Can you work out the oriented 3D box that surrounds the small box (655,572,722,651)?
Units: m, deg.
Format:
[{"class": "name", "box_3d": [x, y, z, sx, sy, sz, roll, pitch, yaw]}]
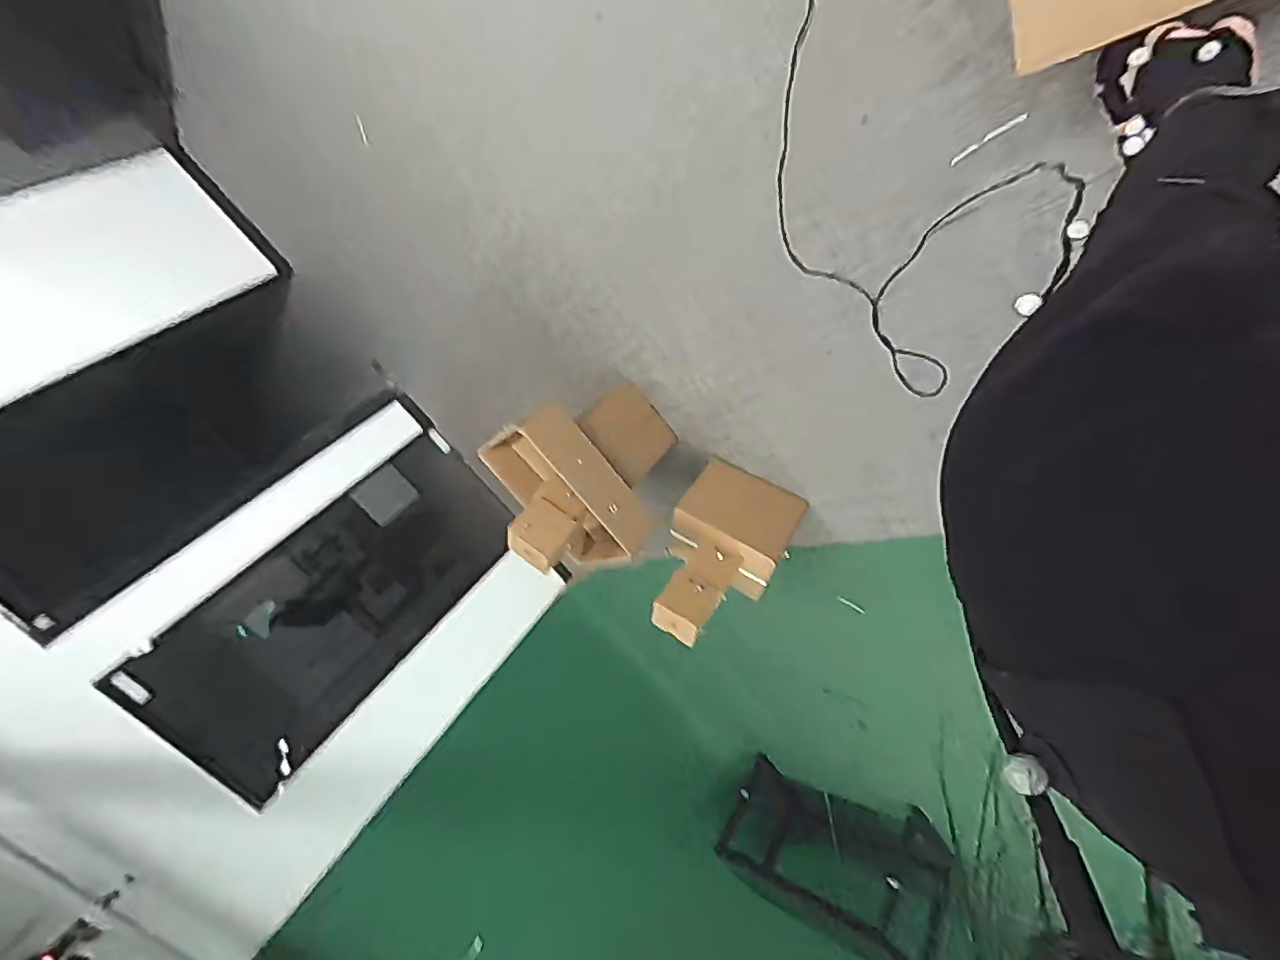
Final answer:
[{"class": "small box", "box_3d": [0.170, 0.453, 1.874, 0.168, 0.176, 0.179, 28, 145, 18]}]

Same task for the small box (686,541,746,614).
[{"class": "small box", "box_3d": [0.264, 0.356, 1.965, 0.168, 0.176, 0.179, 30, 145, 16]}]

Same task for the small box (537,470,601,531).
[{"class": "small box", "box_3d": [-0.265, 0.094, 2.012, 0.179, 0.176, 0.168, 34, 145, 10]}]

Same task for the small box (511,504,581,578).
[{"class": "small box", "box_3d": [-0.334, 0.208, 1.913, 0.179, 0.176, 0.168, 34, 147, 9]}]
